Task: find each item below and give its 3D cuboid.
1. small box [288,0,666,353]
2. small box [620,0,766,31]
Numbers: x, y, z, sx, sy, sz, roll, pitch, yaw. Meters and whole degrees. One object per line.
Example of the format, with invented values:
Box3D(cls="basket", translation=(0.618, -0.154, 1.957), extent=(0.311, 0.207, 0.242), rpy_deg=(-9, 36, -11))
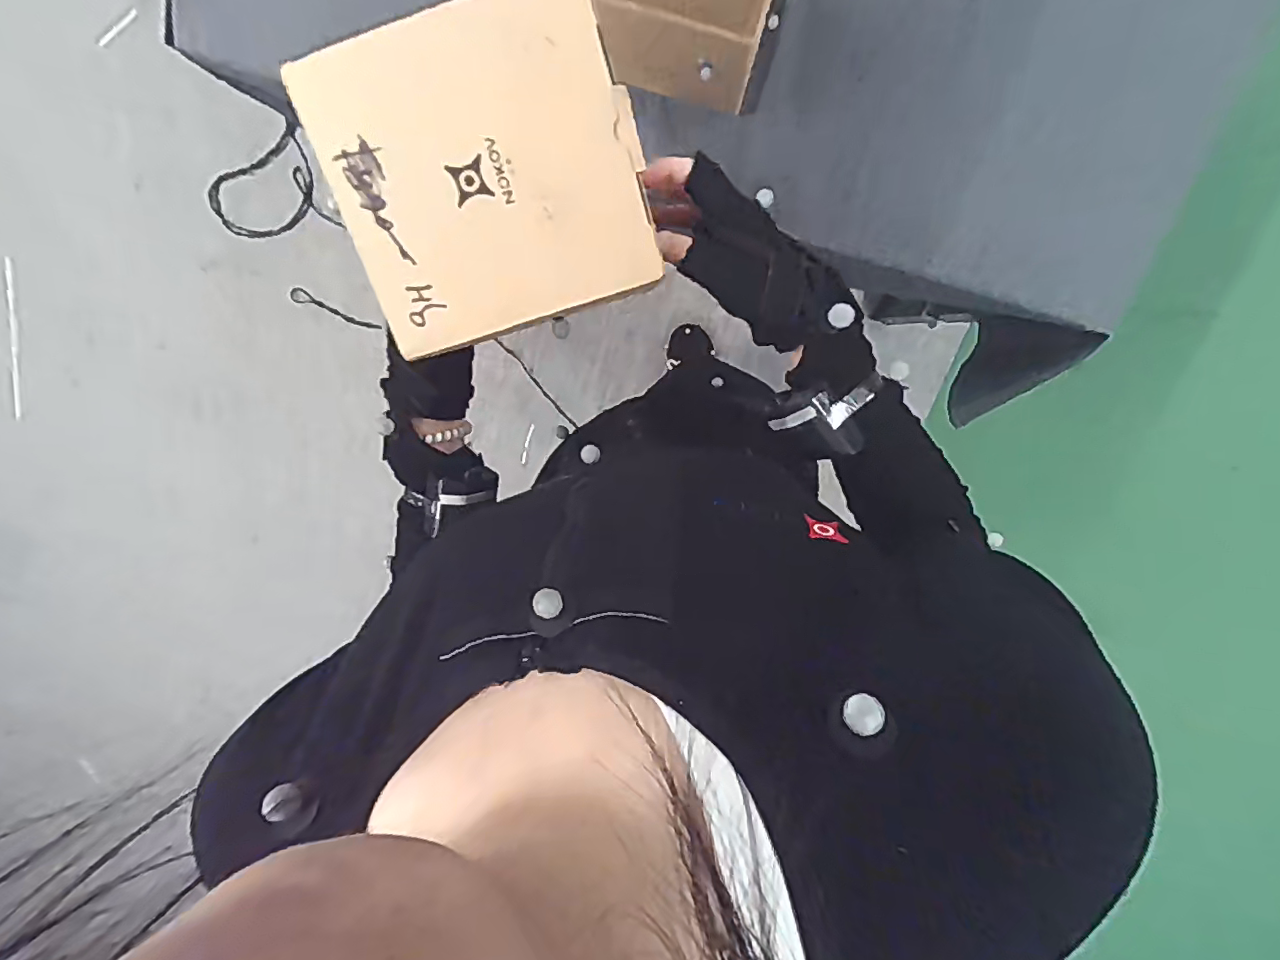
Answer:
Box3D(cls="small box", translation=(-0.092, -0.200, 0.389), extent=(0.179, 0.176, 0.168), rpy_deg=(-16, 107, 2))
Box3D(cls="small box", translation=(0.036, -0.461, 0.375), extent=(0.179, 0.176, 0.168), rpy_deg=(16, 106, 0))
